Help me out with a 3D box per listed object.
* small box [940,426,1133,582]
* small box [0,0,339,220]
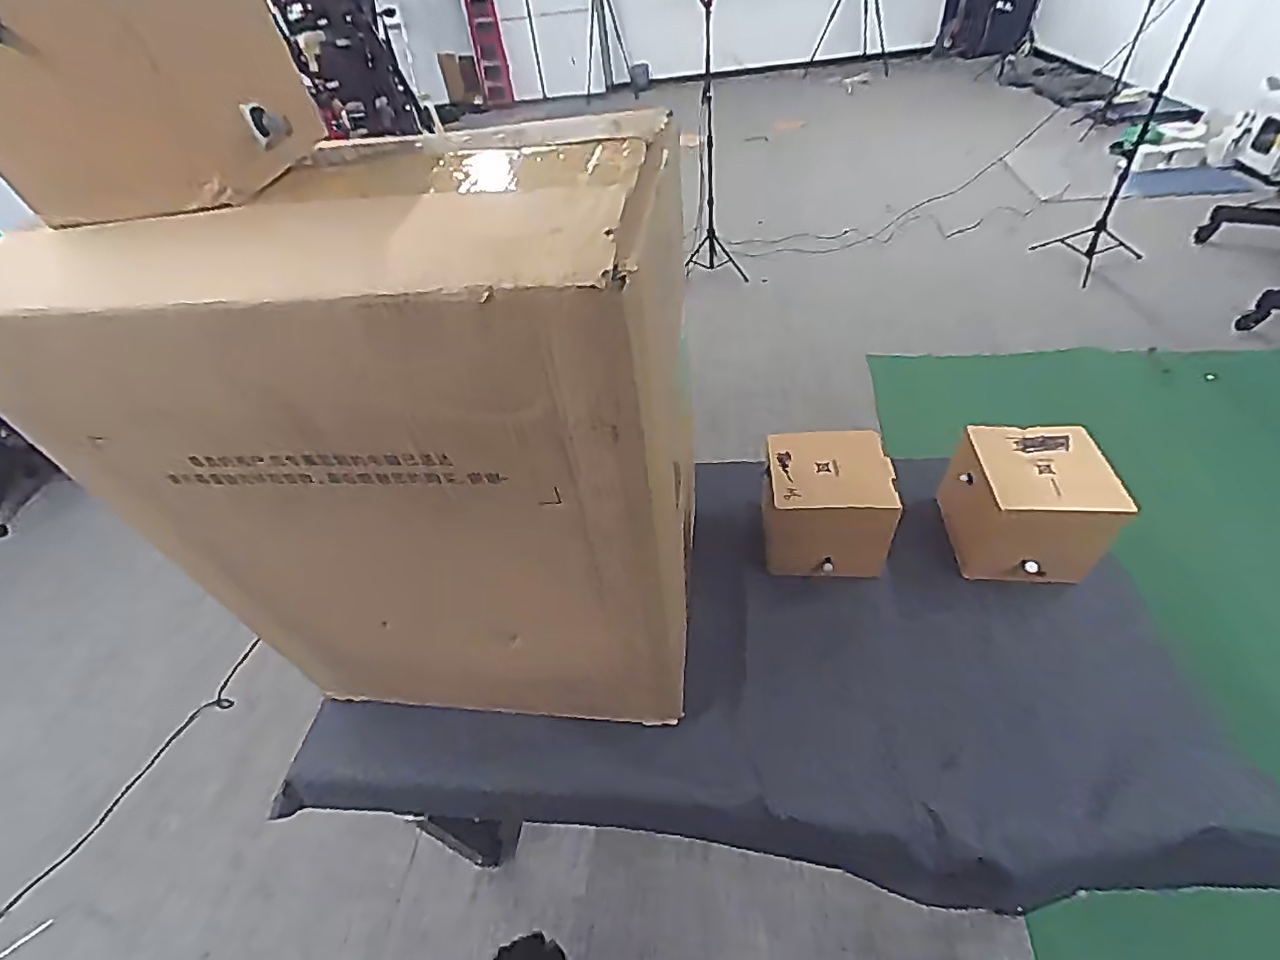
[{"bbox_3d":[0.590,0.035,0.839,0.168,0.176,0.179,1,46,10],"label":"small box"},{"bbox_3d":[-0.385,-0.323,0.424,0.179,0.176,0.168,-3,50,5],"label":"small box"}]
